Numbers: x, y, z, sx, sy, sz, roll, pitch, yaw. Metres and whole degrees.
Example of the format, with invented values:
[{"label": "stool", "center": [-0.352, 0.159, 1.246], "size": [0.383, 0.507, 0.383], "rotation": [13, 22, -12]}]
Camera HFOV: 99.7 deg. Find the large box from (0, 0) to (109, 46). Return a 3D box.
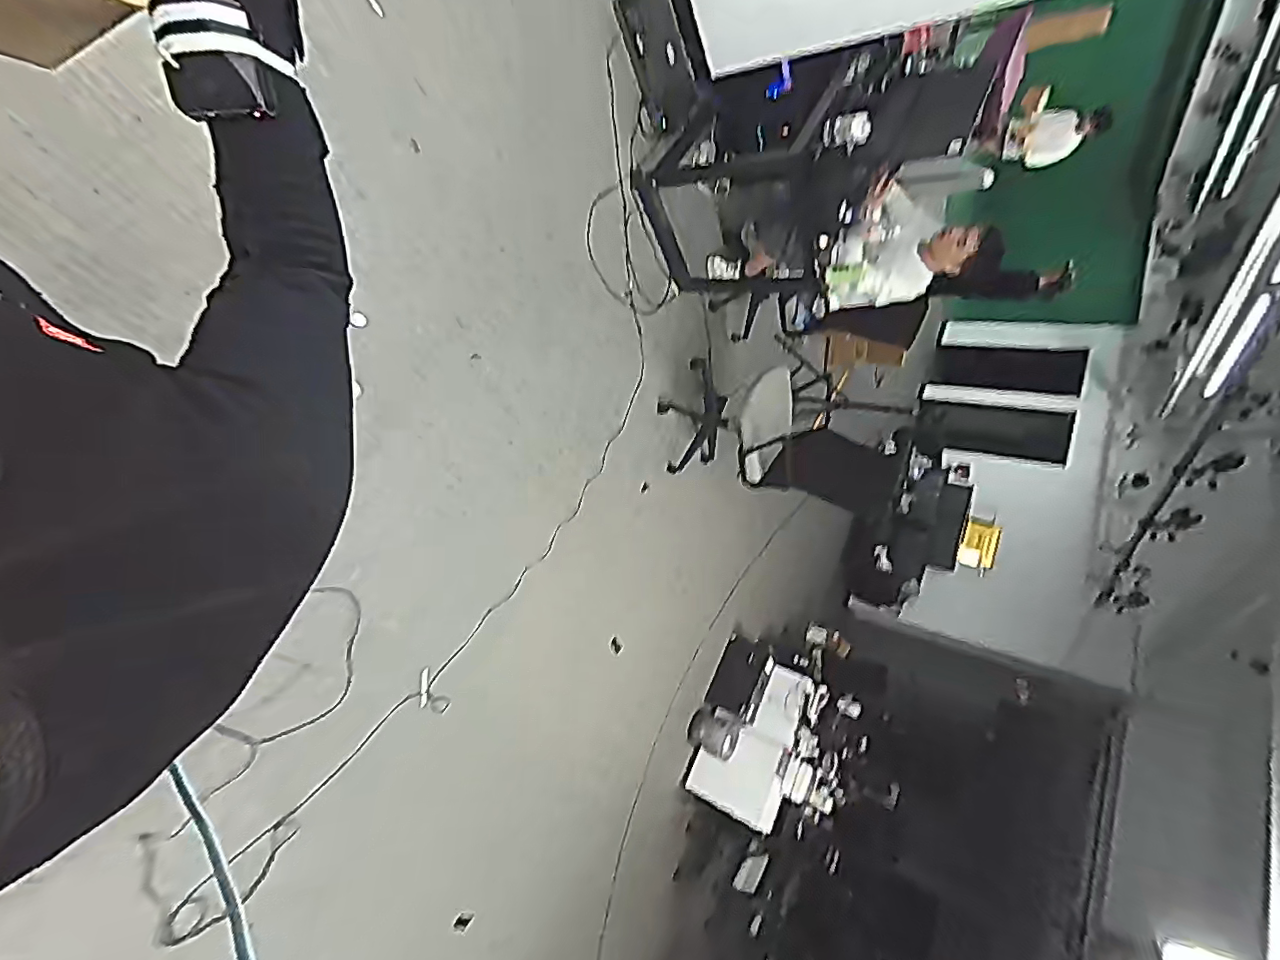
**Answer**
[{"label": "large box", "center": [-0.523, -0.467, 0.219], "size": [0.408, 0.320, 0.320], "rotation": [-12, 118, -53]}]
